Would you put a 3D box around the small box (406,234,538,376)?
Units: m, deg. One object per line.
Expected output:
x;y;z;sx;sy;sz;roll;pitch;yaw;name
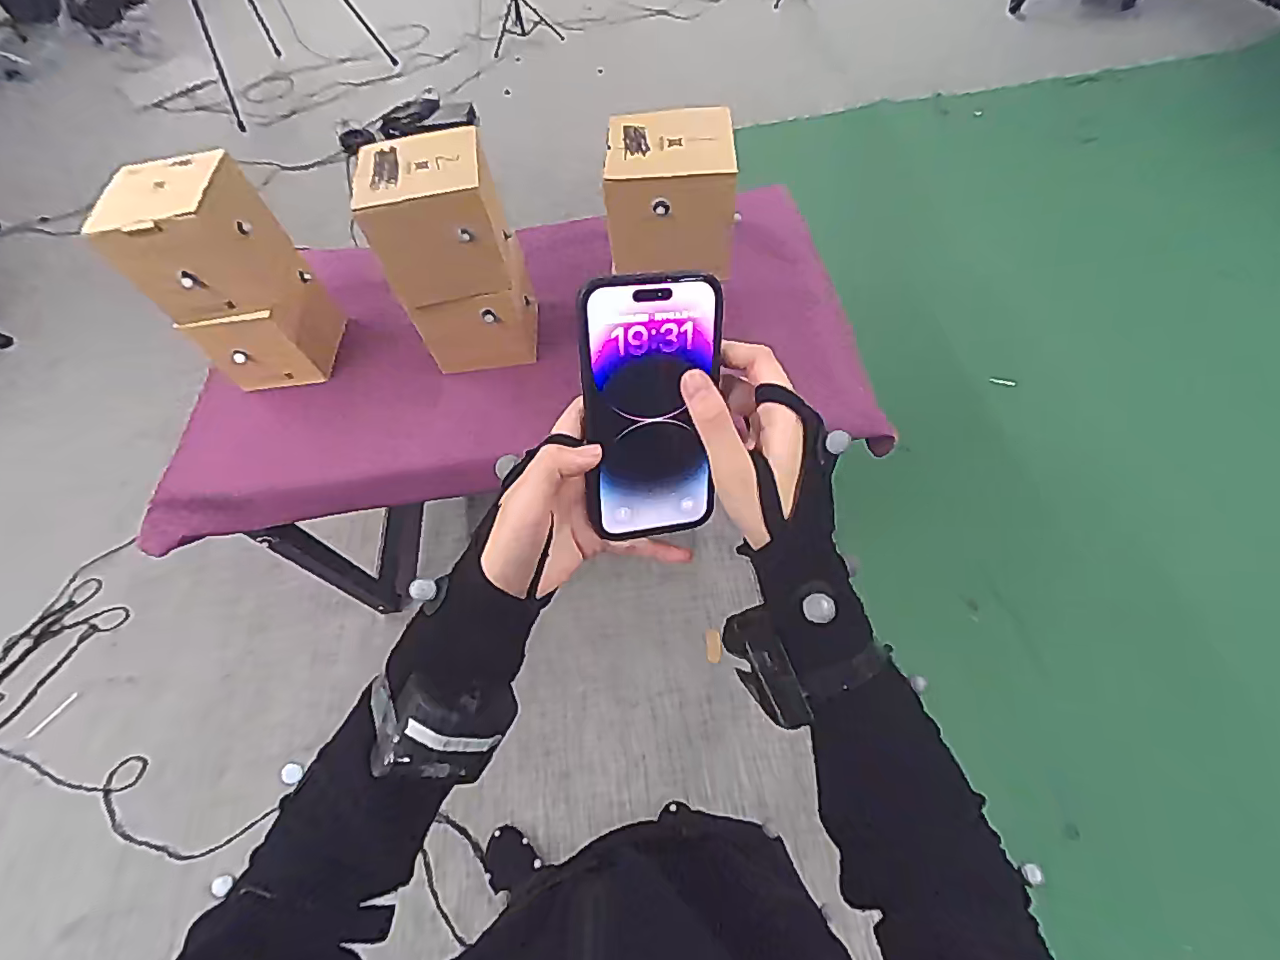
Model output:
-0.286;-0.307;0.968;0.179;0.176;0.168;-7;58;3;small box

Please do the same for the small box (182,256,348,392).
-0.675;-0.278;0.999;0.168;0.176;0.179;-6;58;3;small box

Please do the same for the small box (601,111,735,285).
0.046;-0.408;0.799;0.179;0.176;0.168;-1;58;5;small box

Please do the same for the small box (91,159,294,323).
-0.692;-0.371;0.864;0.168;0.176;0.179;-10;59;0;small box

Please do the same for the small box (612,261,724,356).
0.054;-0.335;0.946;0.179;0.176;0.168;-2;58;7;small box
